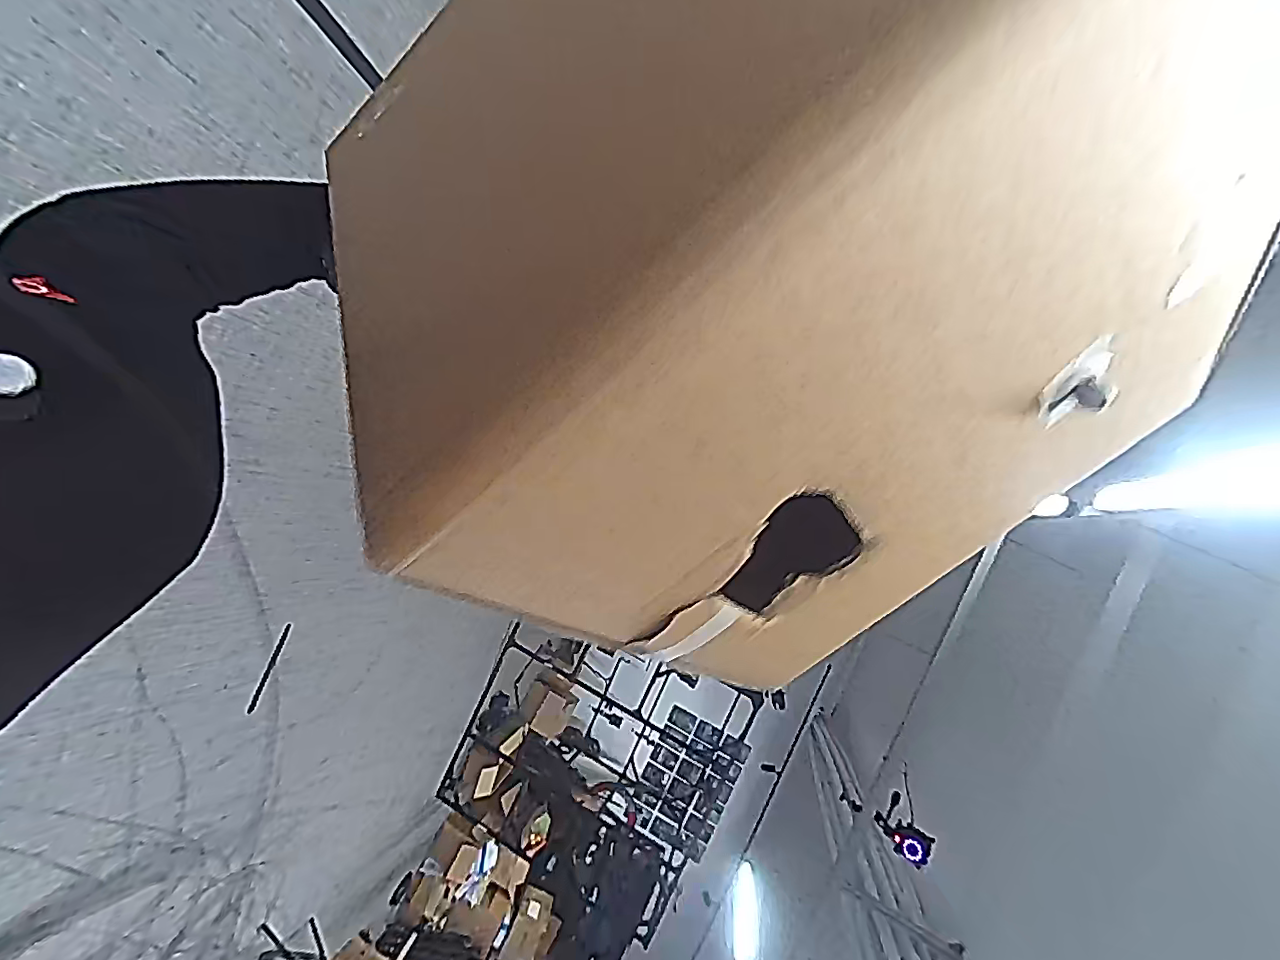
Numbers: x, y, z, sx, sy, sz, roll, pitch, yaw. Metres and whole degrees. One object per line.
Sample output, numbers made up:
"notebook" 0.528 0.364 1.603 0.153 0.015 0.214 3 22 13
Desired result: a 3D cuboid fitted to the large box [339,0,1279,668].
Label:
"large box" 0.041 -0.152 0.361 0.320 0.408 0.320 -38 140 11
